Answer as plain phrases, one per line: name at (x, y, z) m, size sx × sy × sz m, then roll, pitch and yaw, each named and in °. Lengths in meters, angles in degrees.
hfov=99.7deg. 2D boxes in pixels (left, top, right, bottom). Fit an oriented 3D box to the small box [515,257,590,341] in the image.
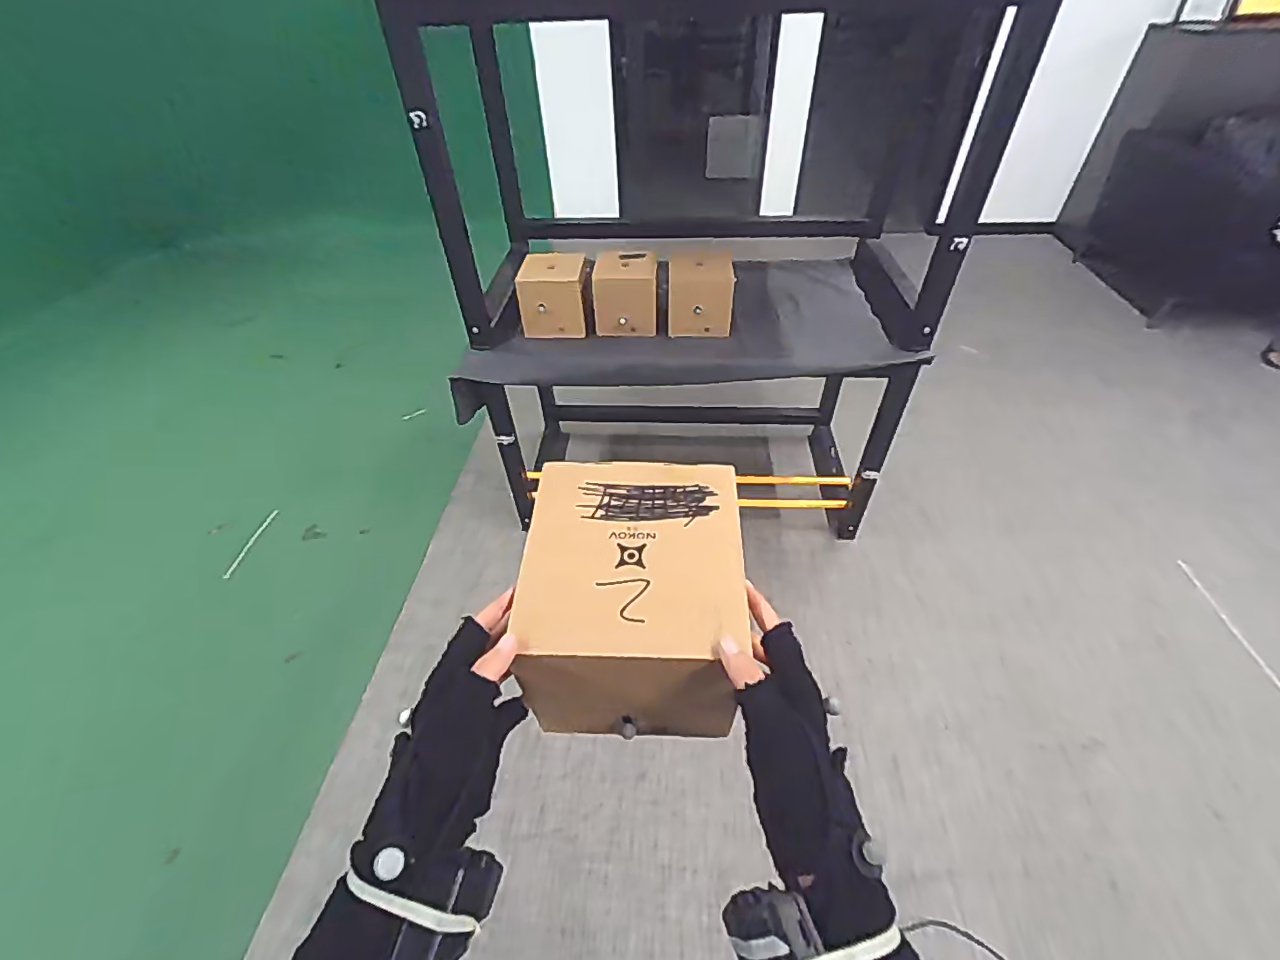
small box at (-0.231, -0.496, 1.486) m, size 0.168 × 0.176 × 0.179 m, roll 1°, pitch 44°, yaw 2°
